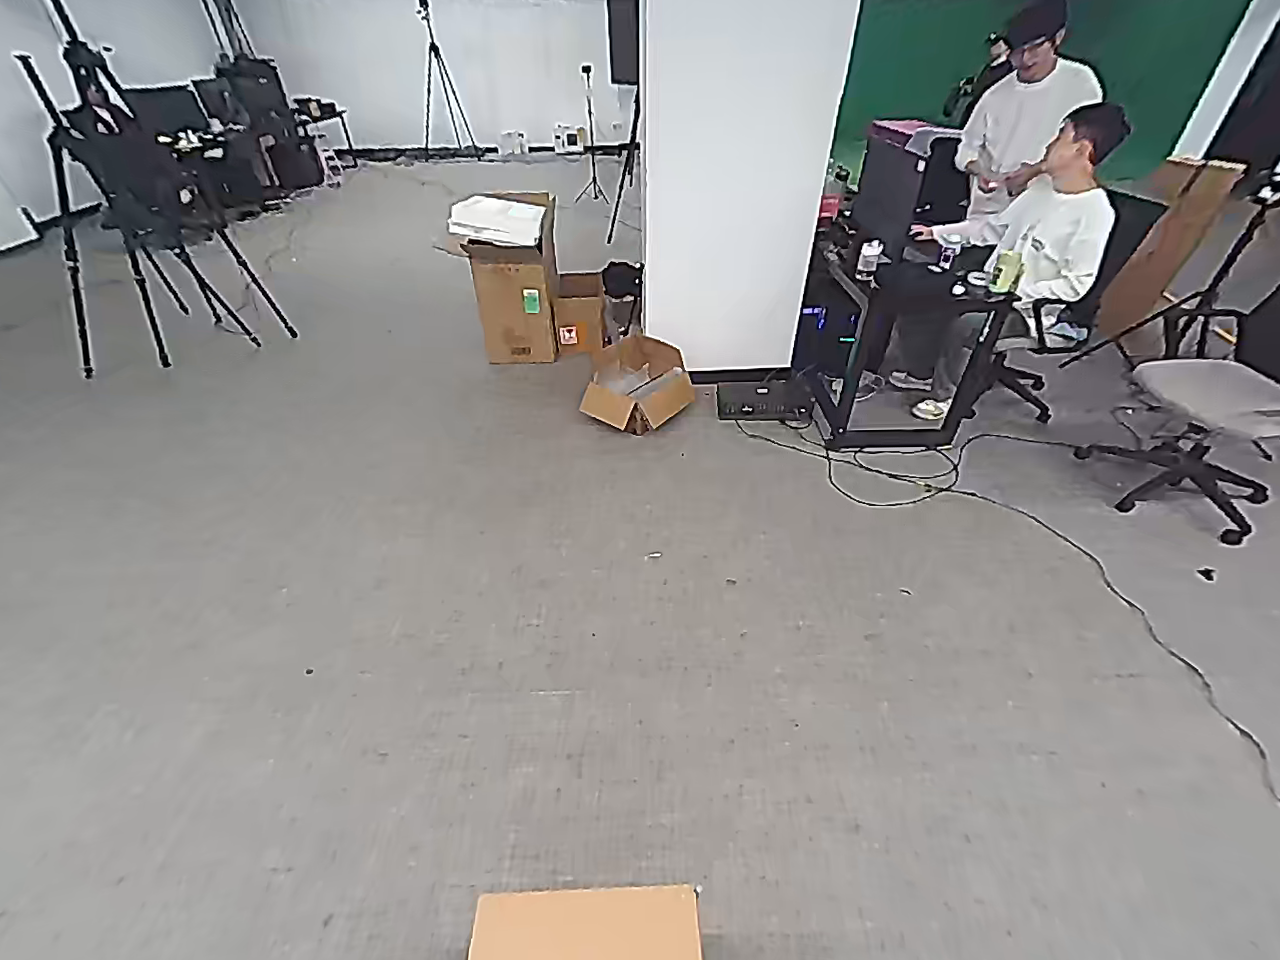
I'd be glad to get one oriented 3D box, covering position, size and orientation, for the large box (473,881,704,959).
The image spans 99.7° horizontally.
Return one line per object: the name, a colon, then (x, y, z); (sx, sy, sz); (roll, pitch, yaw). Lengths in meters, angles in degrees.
large box: (-0.088, 0.970, 0.978); (0.408, 0.320, 0.320); (-1, 39, -2)
